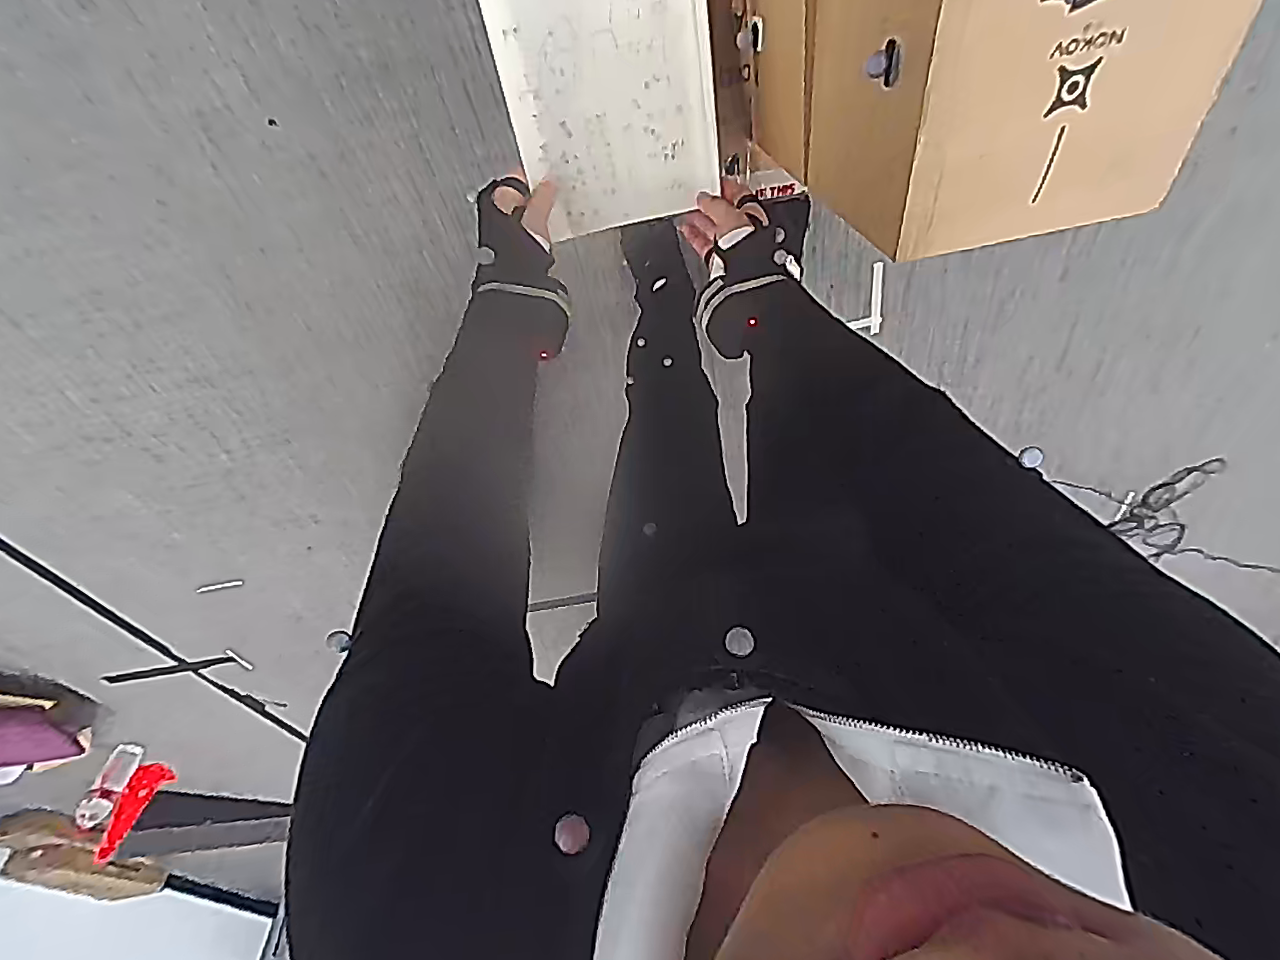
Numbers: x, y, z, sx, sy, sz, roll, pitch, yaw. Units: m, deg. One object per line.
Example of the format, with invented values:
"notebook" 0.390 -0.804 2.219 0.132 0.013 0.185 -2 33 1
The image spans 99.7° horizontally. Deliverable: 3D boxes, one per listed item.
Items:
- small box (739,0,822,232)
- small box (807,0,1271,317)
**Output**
"small box" 0.197 -0.348 0.472 0.179 0.176 0.168 -13 133 4
"small box" 0.219 -0.237 0.352 0.168 0.176 0.179 -11 134 1
